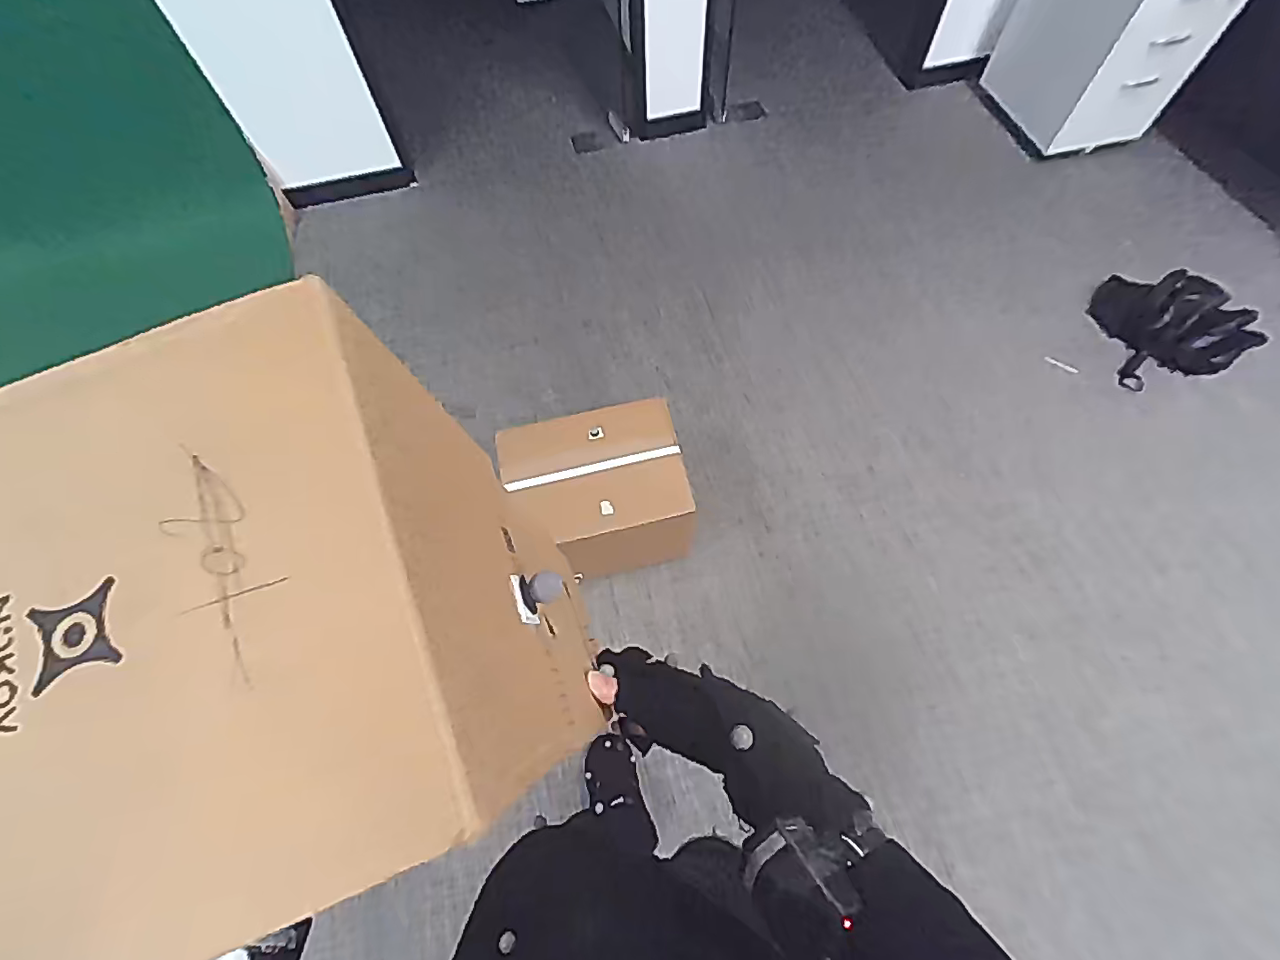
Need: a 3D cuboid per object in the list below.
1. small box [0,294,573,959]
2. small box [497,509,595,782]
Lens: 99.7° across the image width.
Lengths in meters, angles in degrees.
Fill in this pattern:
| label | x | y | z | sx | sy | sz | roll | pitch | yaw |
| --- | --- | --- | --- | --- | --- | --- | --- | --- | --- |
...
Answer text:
| label | x | y | z | sx | sy | sz | roll | pitch | yaw |
| --- | --- | --- | --- | --- | --- | --- | --- | --- | --- |
| small box | -0.144 | 0.066 | 0.222 | 0.179 | 0.176 | 0.168 | -23 | 74 | -5 |
| small box | -0.138 | 0.120 | 0.374 | 0.179 | 0.176 | 0.168 | -22 | 73 | -2 |
